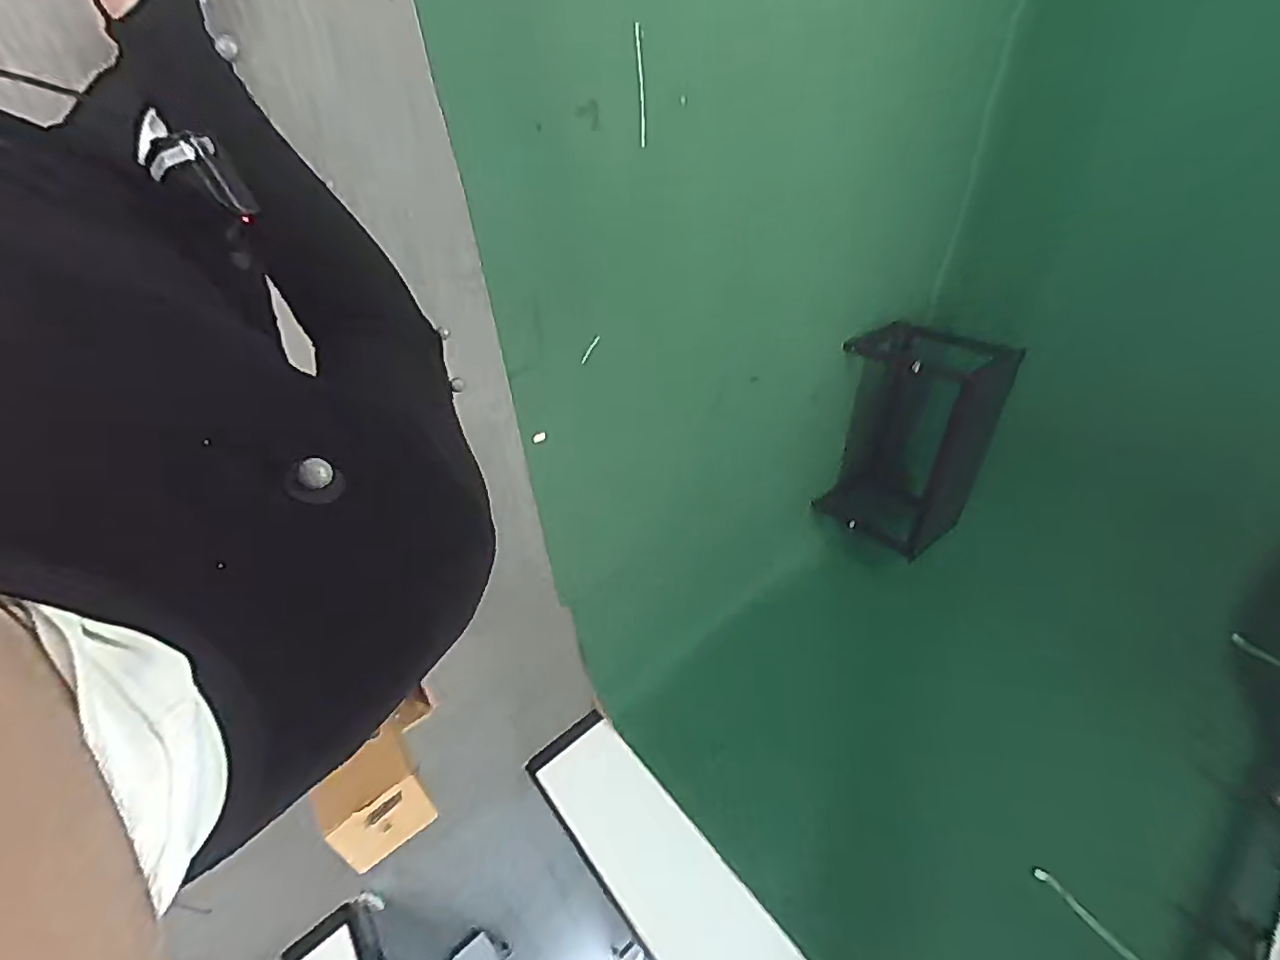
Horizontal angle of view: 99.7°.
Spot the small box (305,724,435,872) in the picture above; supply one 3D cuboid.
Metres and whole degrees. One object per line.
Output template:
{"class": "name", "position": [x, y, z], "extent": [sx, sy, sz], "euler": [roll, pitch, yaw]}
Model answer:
{"class": "small box", "position": [-0.552, 0.635, 1.104], "extent": [0.168, 0.176, 0.179], "euler": [-28, 131, -28]}
